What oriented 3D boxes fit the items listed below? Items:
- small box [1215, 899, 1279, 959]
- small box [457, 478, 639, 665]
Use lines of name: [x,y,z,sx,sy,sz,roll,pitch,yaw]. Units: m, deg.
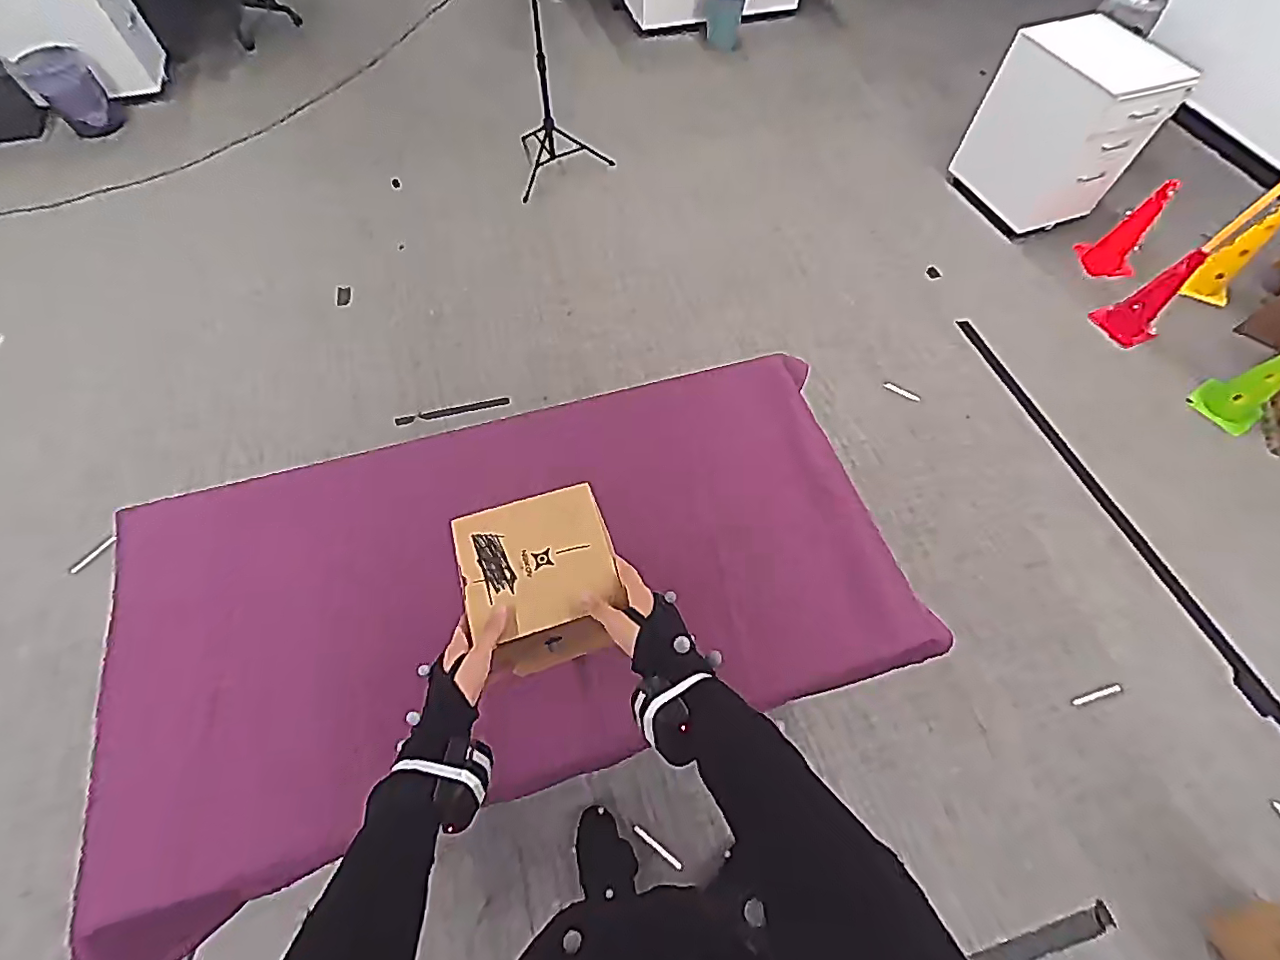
small box: [1.412,1.039,1.156,0.179,0.176,0.168,-18,63,-11]
small box: [-0.112,0.127,0.702,0.179,0.176,0.168,-18,63,-4]
